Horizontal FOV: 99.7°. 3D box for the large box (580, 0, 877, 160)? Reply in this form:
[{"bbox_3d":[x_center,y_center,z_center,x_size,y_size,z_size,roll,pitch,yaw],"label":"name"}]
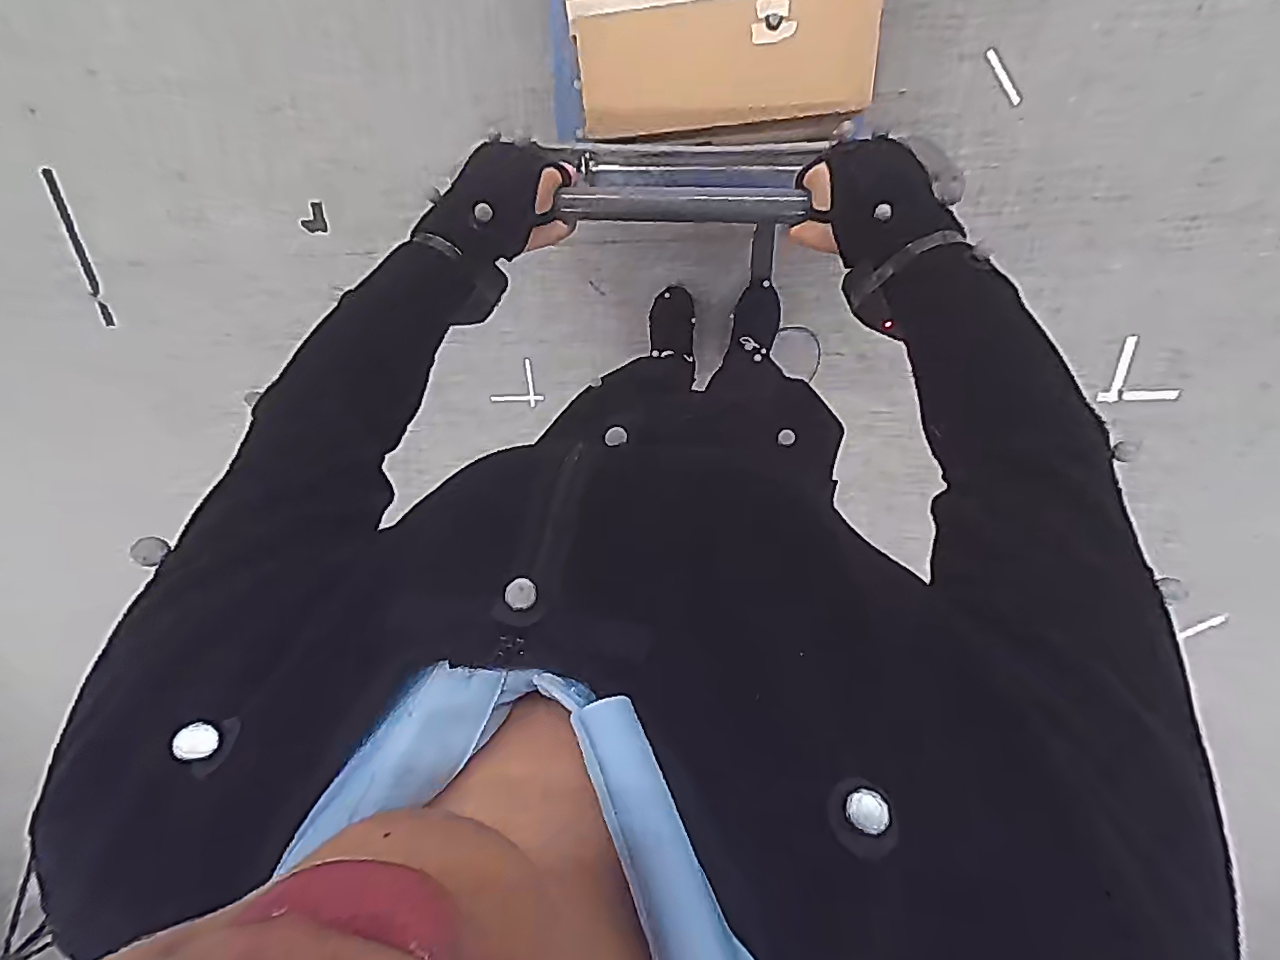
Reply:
[{"bbox_3d":[0.127,-0.721,0.857,0.408,0.320,0.320,-2,117,8],"label":"large box"}]
